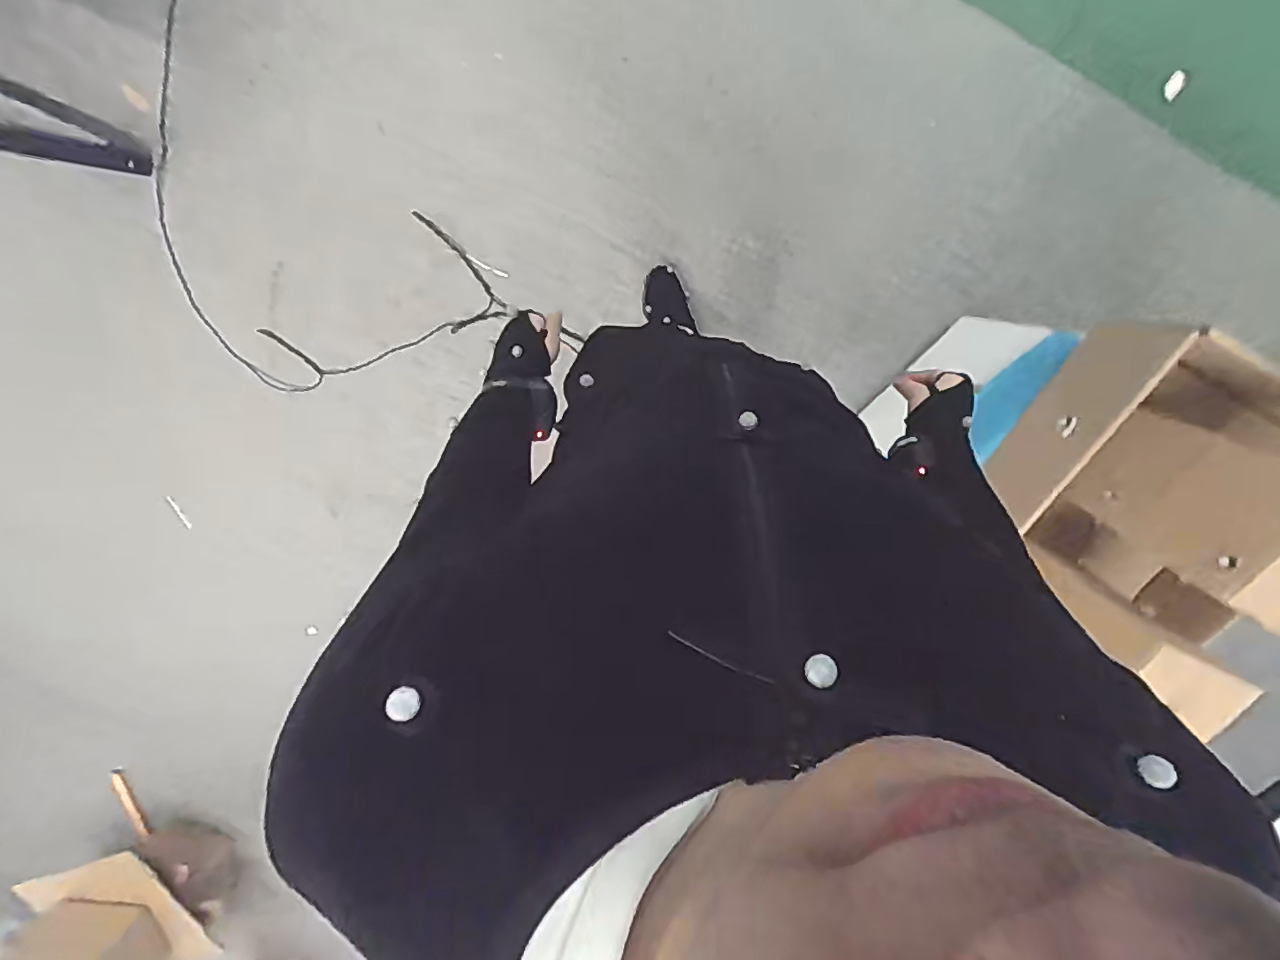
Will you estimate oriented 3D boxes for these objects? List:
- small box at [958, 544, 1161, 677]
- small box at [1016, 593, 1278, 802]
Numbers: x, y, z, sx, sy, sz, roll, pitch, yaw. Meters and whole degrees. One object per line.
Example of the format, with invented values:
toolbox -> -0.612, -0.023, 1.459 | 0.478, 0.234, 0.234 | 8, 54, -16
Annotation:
small box -> 0.685, 0.237, 0.910 | 0.168, 0.176, 0.179 | 27, 109, -7
small box -> 0.678, 0.295, 0.757 | 0.168, 0.176, 0.179 | 26, 108, -7
